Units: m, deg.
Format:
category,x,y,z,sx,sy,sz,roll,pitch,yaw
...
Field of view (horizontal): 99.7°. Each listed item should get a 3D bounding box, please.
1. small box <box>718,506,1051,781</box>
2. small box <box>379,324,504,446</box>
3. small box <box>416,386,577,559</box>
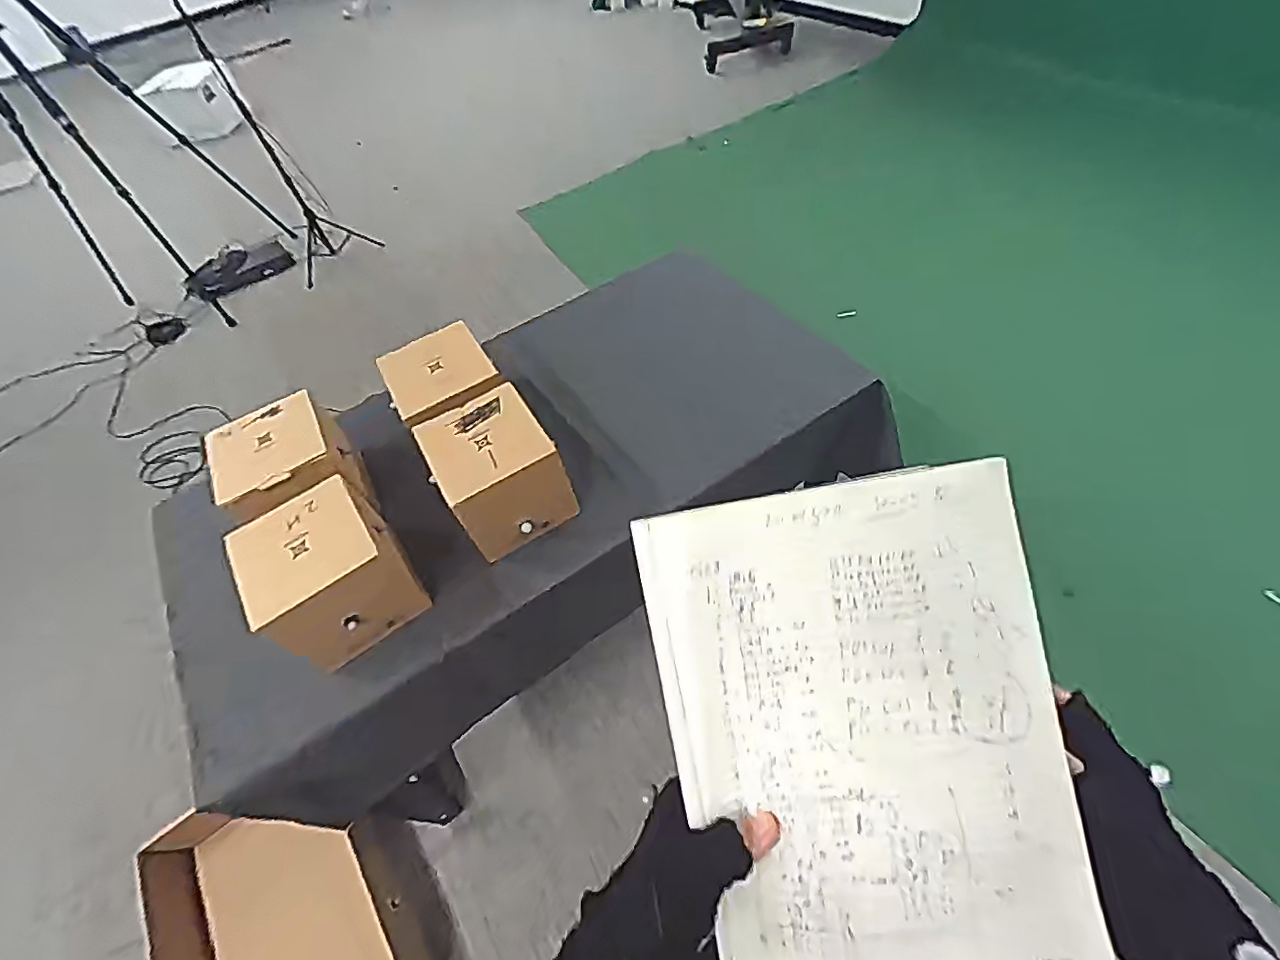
category,x,y,z,sx,sy,sz,roll,pitch,yaw
small box,0.163,0.136,0.433,0.179,0.176,0.168,-8,63,3
small box,-0.330,-0.138,0.964,0.168,0.176,0.179,-29,56,-12
small box,-0.220,-0.009,0.850,0.168,0.176,0.179,-29,56,-13
